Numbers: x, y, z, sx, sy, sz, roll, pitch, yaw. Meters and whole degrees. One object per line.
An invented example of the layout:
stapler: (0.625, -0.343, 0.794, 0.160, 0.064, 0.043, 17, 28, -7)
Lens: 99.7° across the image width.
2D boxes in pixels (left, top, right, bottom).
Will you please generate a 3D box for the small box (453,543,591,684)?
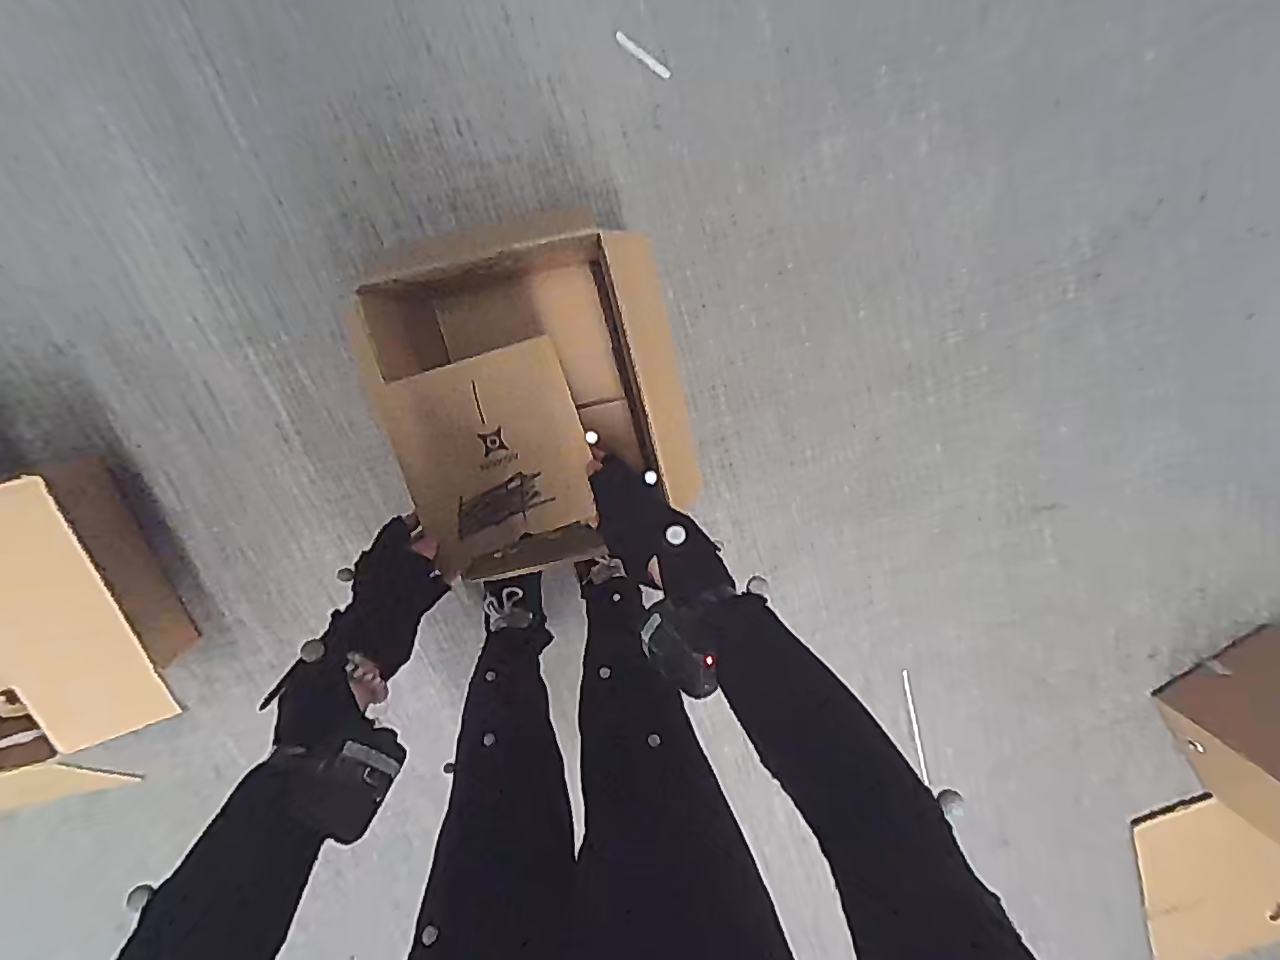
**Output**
small box: (-0.230, 0.249, 1.038, 0.179, 0.176, 0.168, 38, 106, 9)

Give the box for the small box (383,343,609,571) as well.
small box: (-0.139, -0.022, 0.580, 0.168, 0.176, 0.179, -20, 91, -7)
